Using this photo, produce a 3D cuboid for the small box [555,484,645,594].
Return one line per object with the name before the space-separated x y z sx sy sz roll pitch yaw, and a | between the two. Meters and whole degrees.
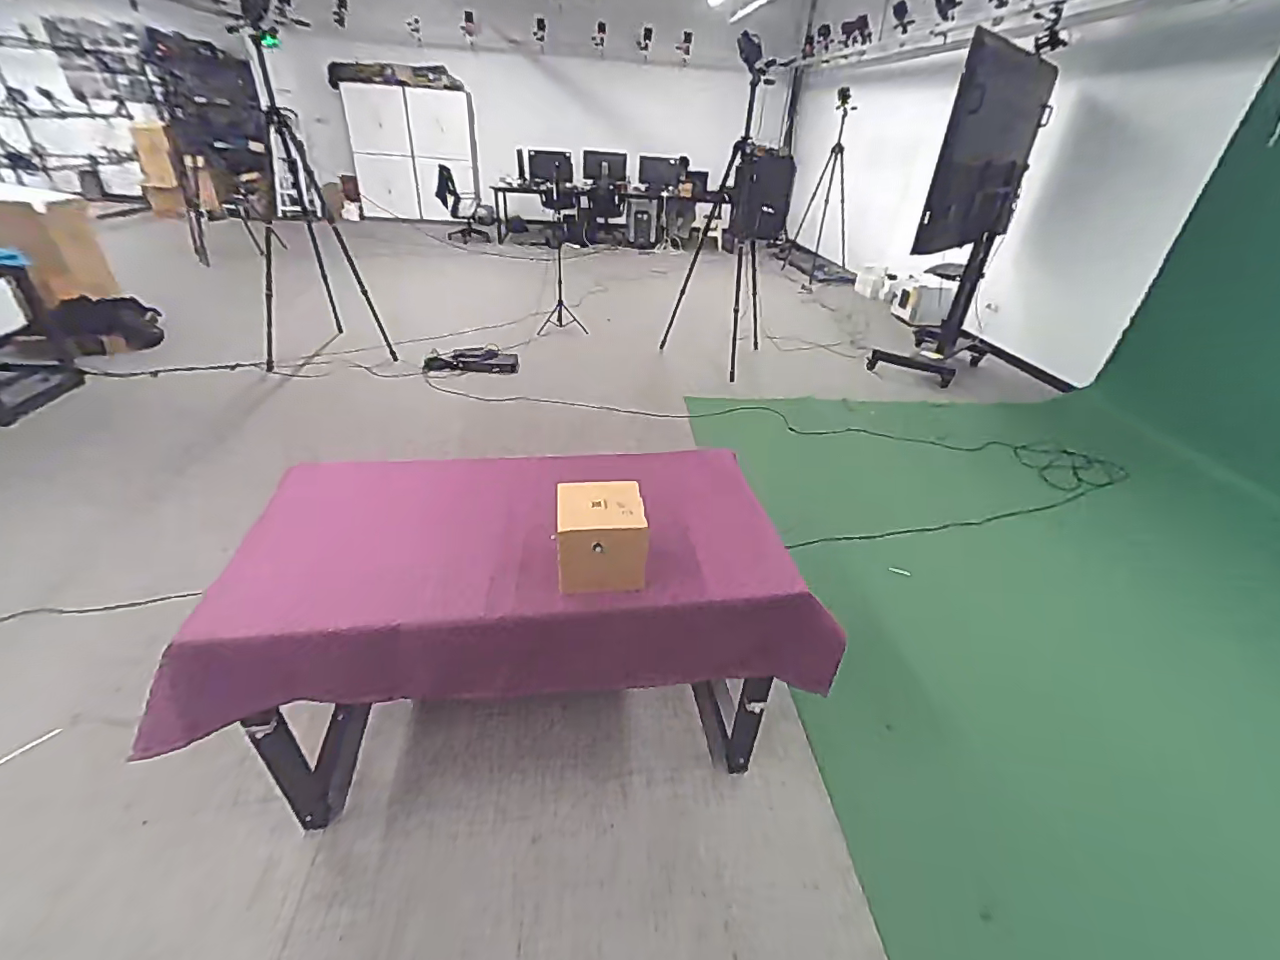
small box | -0.086 0.125 1.136 0.179 0.176 0.168 -1 33 -7
